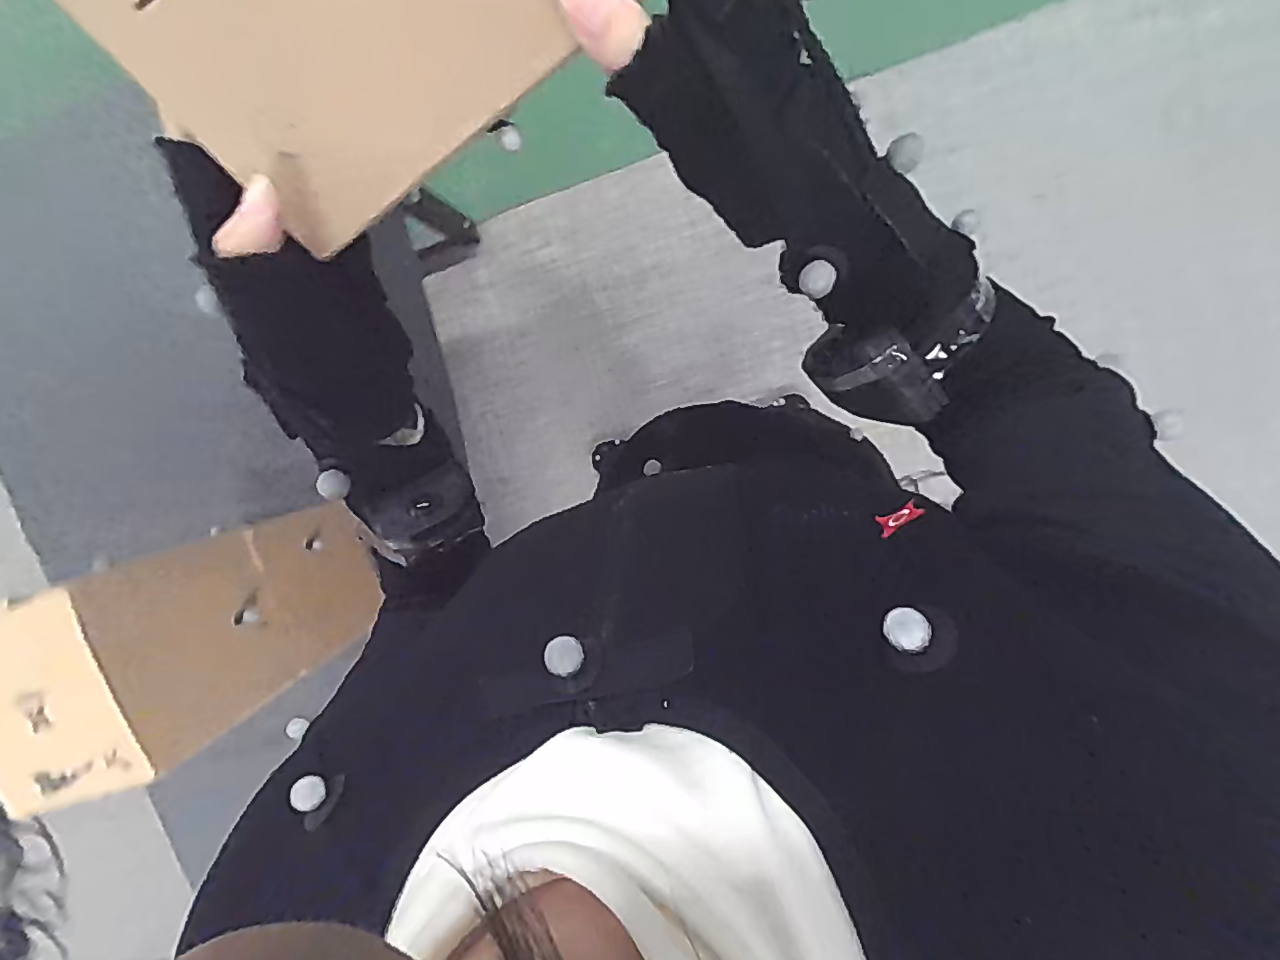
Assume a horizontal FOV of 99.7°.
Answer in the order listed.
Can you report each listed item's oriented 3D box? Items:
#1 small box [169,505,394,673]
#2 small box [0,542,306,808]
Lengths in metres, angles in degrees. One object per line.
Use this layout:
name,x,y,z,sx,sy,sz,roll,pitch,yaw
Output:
small box,-0.454,0.141,0.688,0.168,0.176,0.179,-18,98,11
small box,-0.480,0.171,0.529,0.168,0.176,0.179,-18,96,11
